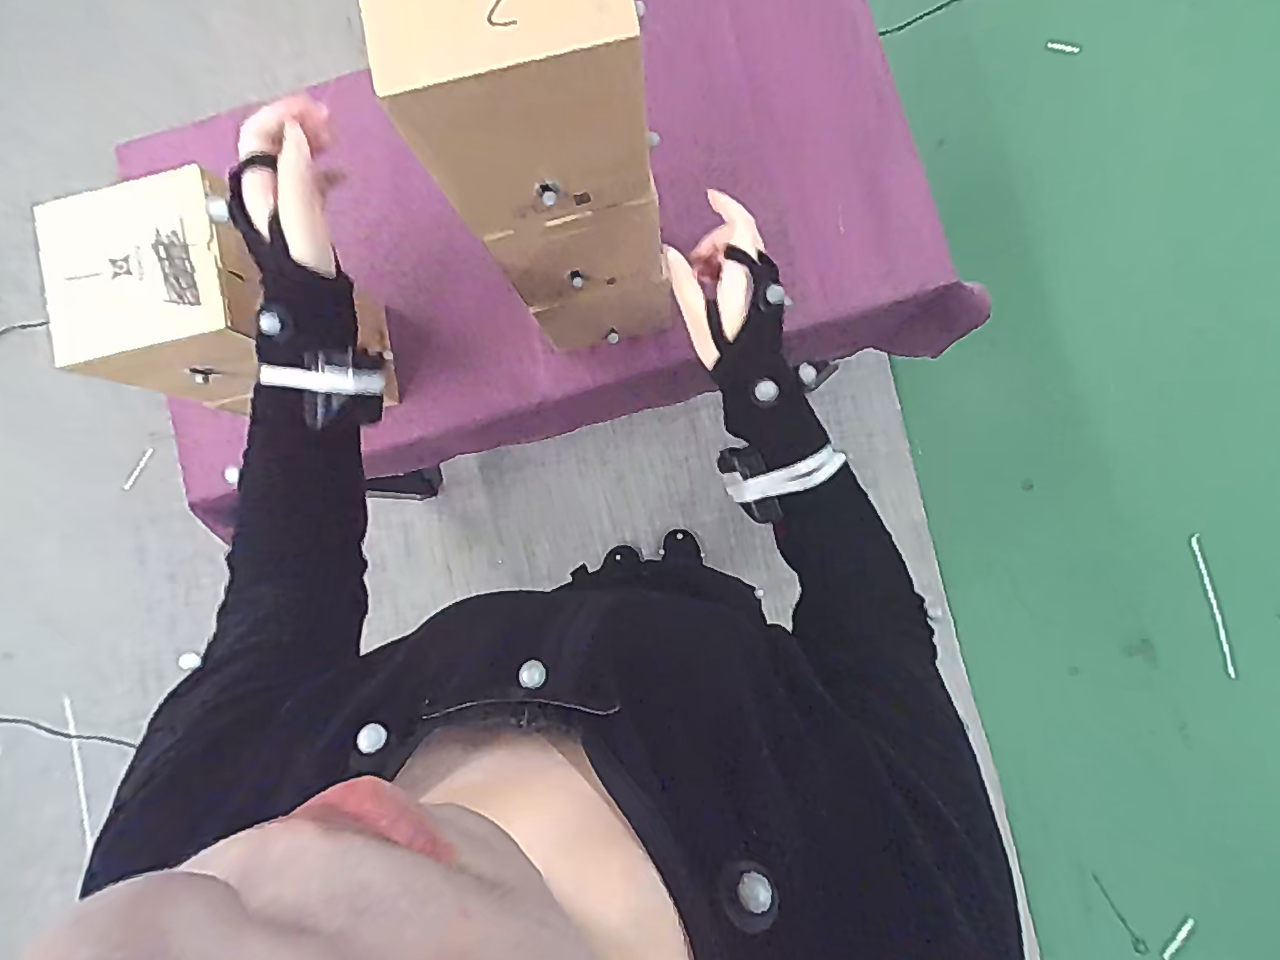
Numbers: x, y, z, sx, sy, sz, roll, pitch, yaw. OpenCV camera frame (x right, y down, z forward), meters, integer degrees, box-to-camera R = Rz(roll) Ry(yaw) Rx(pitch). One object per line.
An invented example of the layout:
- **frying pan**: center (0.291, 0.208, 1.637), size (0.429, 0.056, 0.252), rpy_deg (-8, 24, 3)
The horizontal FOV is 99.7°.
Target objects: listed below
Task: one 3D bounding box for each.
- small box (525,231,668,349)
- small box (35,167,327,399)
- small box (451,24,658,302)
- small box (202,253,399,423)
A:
- **small box**: center (-0.064, -0.296, 0.738), size (0.179, 0.176, 0.168), rpy_deg (-13, 85, 2)
- **small box**: center (-0.475, -0.198, 0.592), size (0.179, 0.176, 0.168), rpy_deg (-13, 87, 2)
- **small box**: center (-0.078, -0.318, 0.577), size (0.168, 0.176, 0.179), rpy_deg (-13, 87, 3)
- **small box**: center (-0.470, -0.184, 0.755), size (0.179, 0.176, 0.168), rpy_deg (-12, 86, 2)
